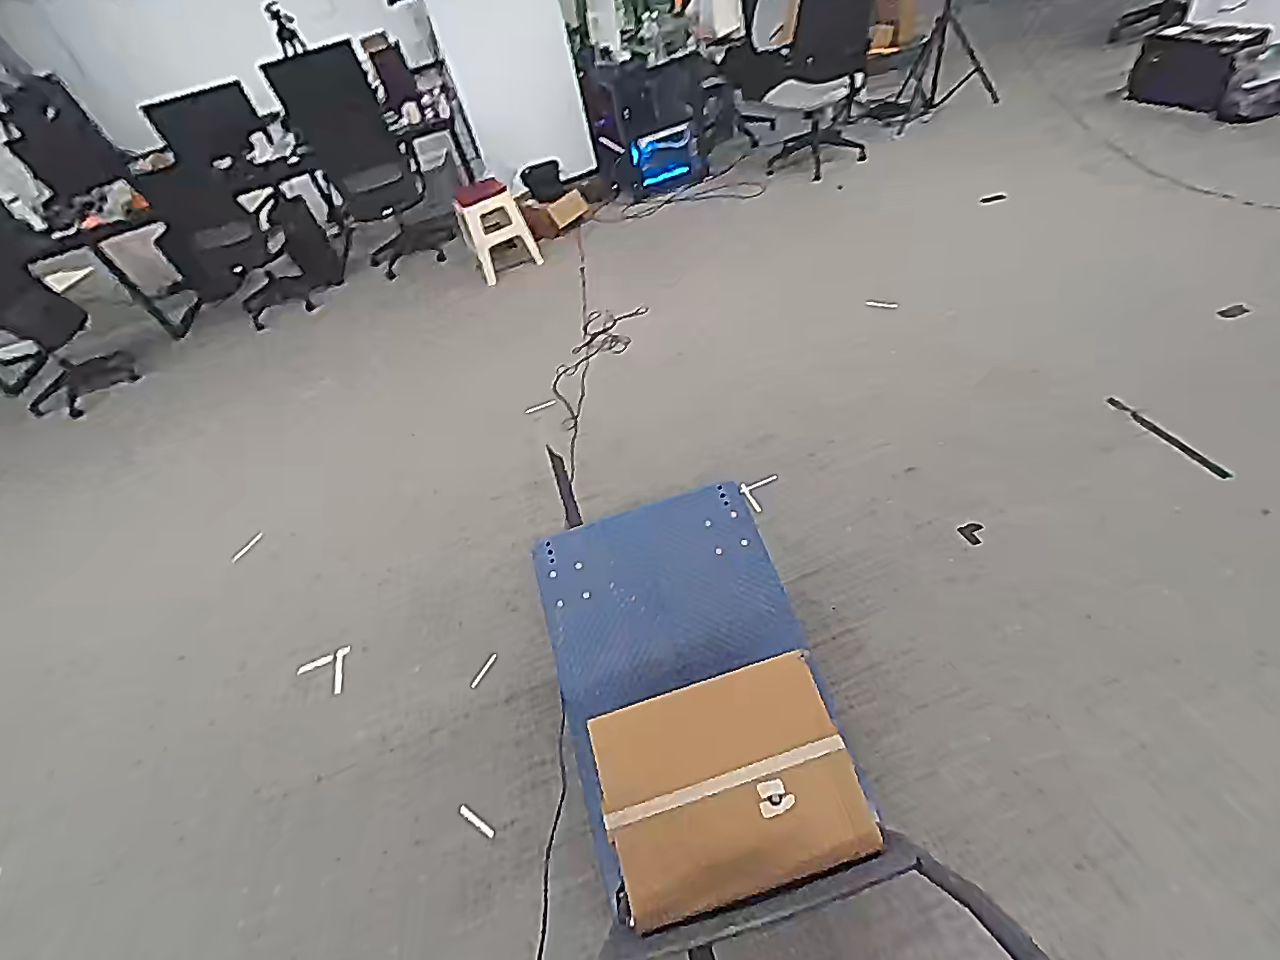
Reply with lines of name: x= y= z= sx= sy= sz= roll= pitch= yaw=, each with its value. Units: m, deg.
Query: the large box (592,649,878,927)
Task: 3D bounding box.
large box: x=0.160 y=0.565 z=1.038 sx=0.408 sy=0.320 sz=0.320 roll=-18 pitch=63 yaw=-3
